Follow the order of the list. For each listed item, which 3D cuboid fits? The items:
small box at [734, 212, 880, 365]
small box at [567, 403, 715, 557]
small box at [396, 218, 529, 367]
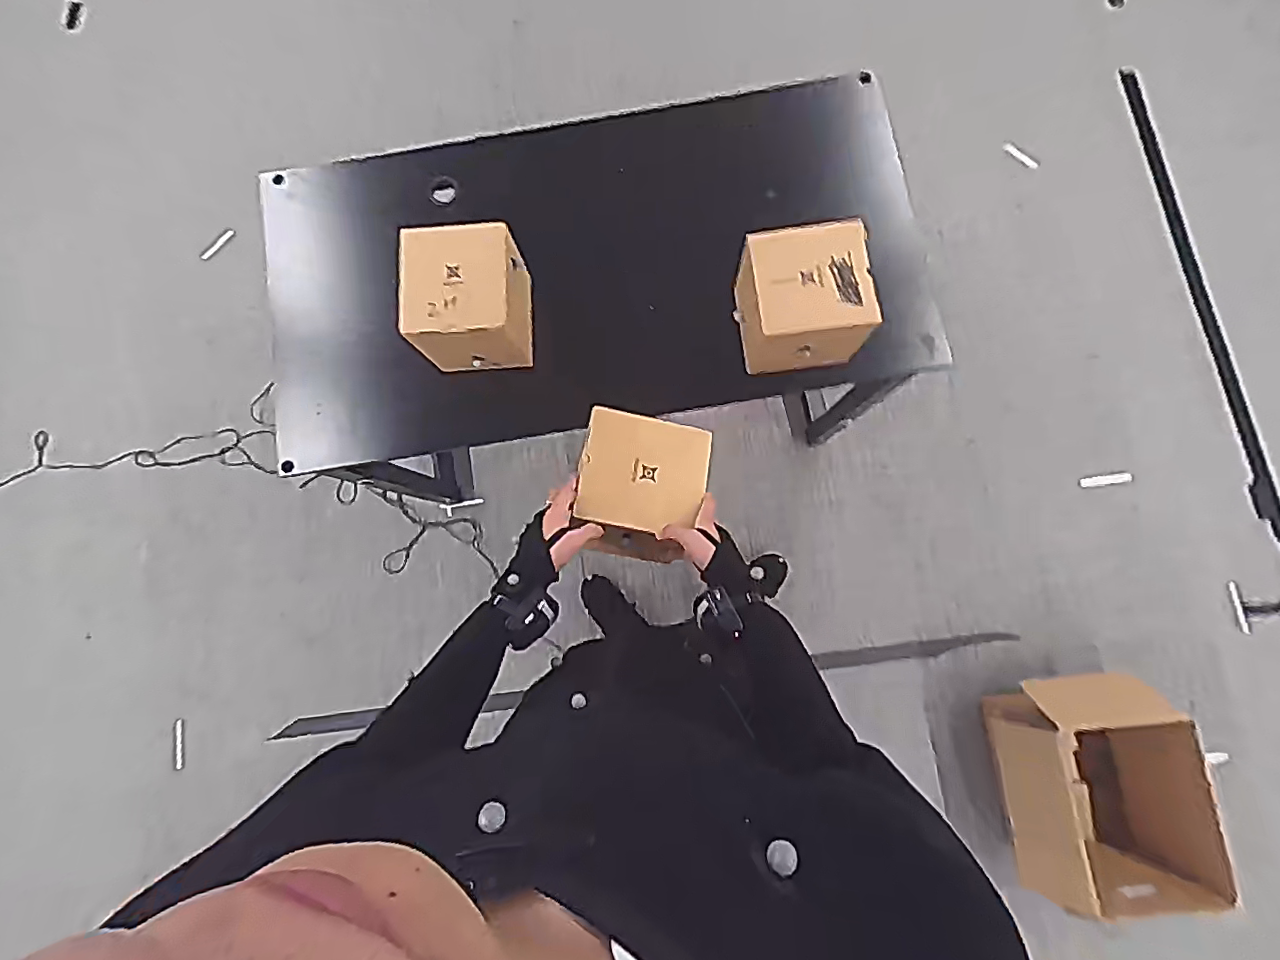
[{"bbox_3d":[0.258,-0.299,0.875,0.179,0.176,0.168,-7,81,3],"label":"small box"},{"bbox_3d":[-0.005,0.011,0.798,0.179,0.176,0.168,11,70,-6],"label":"small box"},{"bbox_3d":[-0.286,-0.303,0.900,0.168,0.176,0.179,-4,82,2],"label":"small box"}]
